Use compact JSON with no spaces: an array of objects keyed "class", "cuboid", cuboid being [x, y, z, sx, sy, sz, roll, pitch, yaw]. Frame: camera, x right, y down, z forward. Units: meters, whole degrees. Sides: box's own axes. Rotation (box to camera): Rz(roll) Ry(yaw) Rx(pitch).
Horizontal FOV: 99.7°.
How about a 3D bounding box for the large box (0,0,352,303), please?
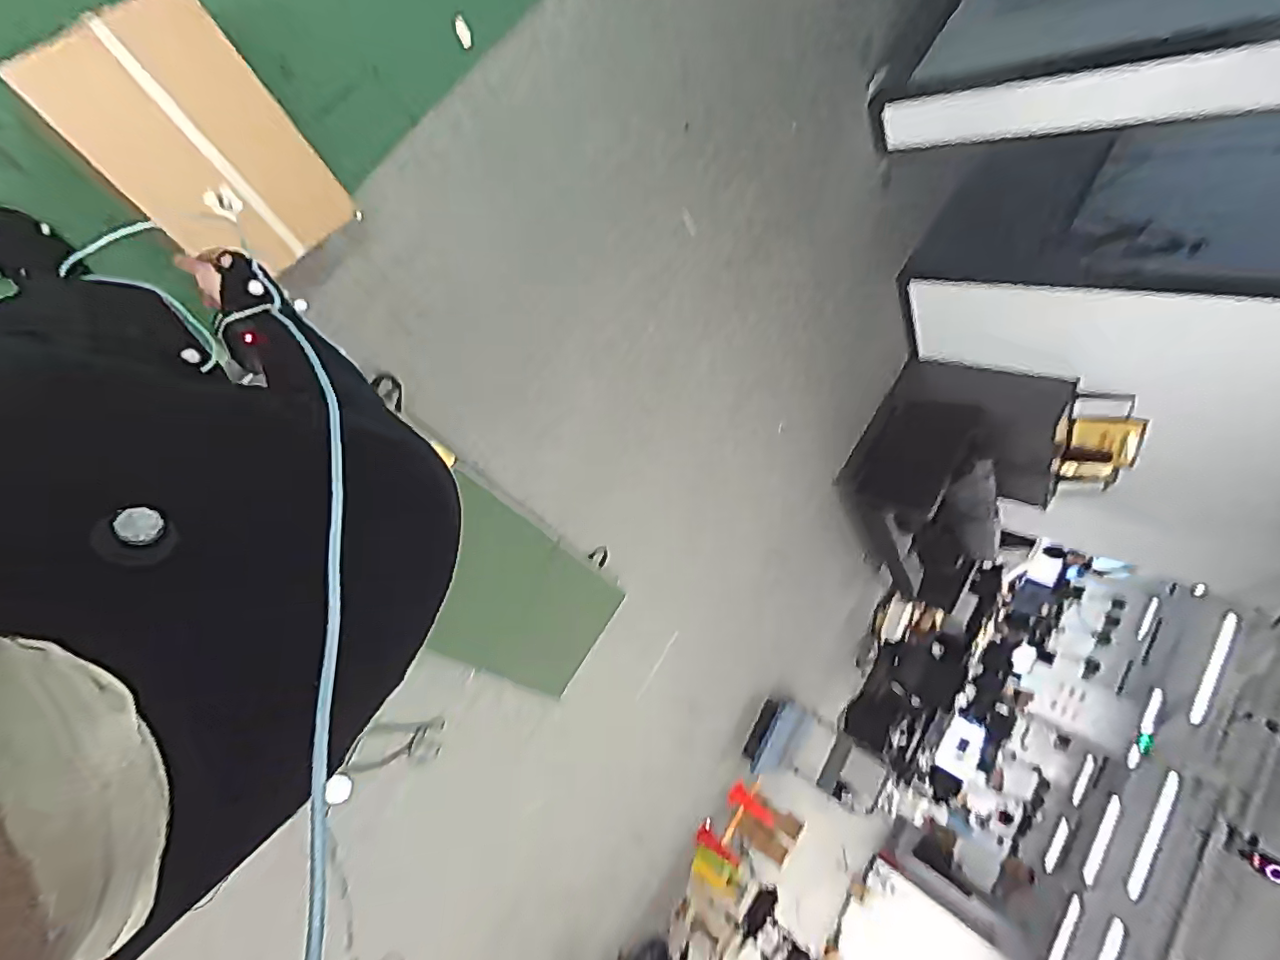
[{"class":"large box","cuboid":[-0.891,-0.619,1.074,0.320,0.320,0.408,-51,137,-18]}]
